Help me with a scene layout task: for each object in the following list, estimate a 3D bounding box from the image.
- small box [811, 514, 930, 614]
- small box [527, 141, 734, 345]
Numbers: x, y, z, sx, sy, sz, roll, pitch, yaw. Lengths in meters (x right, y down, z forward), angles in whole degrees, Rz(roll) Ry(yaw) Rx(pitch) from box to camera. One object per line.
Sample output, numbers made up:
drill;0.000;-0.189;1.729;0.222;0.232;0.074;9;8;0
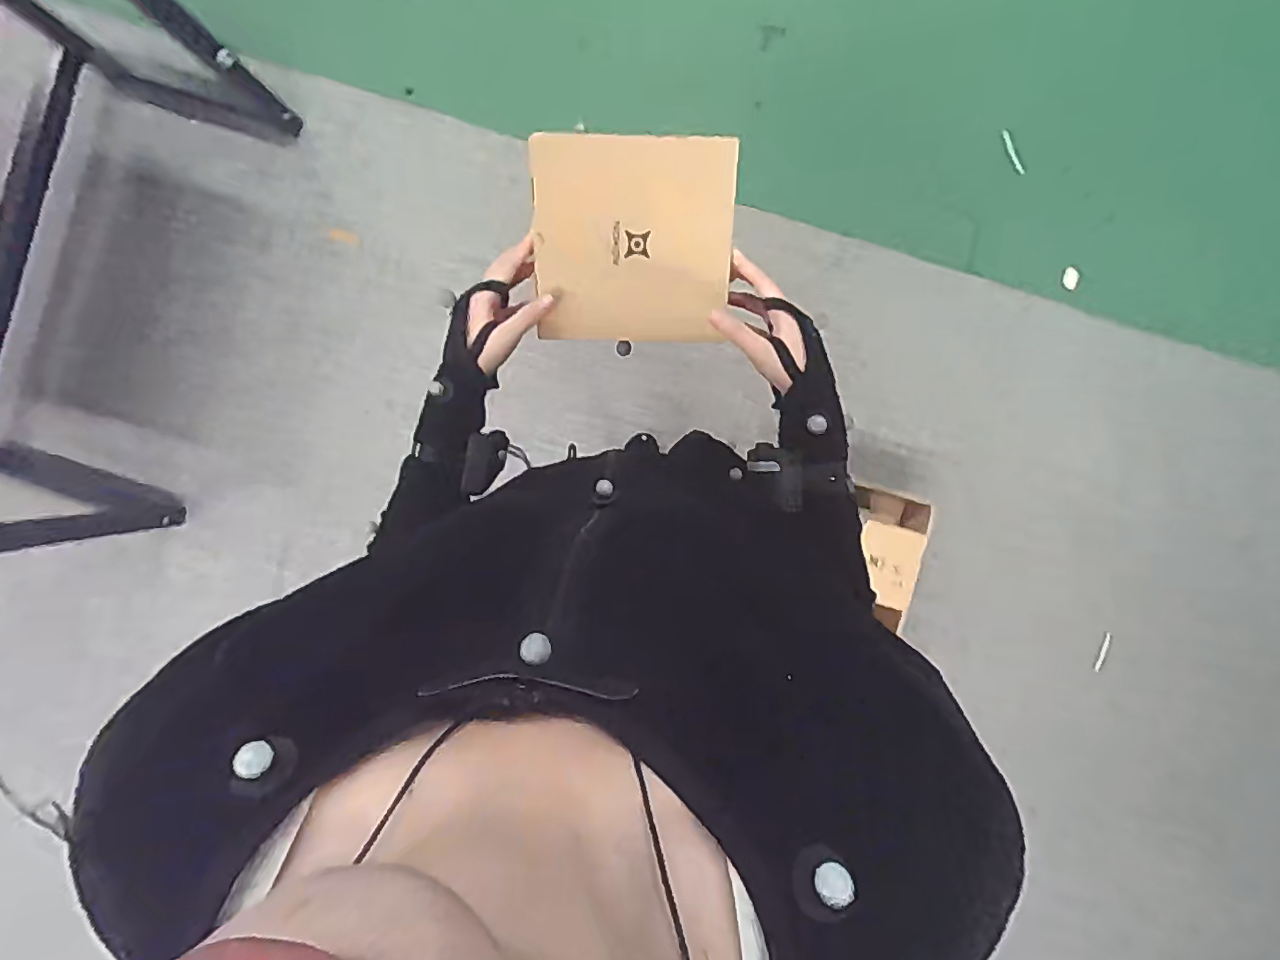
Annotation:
small box;0.505;0.179;1.215;0.179;0.176;0.168;16;94;2
small box;-0.006;-0.231;0.550;0.179;0.176;0.168;1;109;3
